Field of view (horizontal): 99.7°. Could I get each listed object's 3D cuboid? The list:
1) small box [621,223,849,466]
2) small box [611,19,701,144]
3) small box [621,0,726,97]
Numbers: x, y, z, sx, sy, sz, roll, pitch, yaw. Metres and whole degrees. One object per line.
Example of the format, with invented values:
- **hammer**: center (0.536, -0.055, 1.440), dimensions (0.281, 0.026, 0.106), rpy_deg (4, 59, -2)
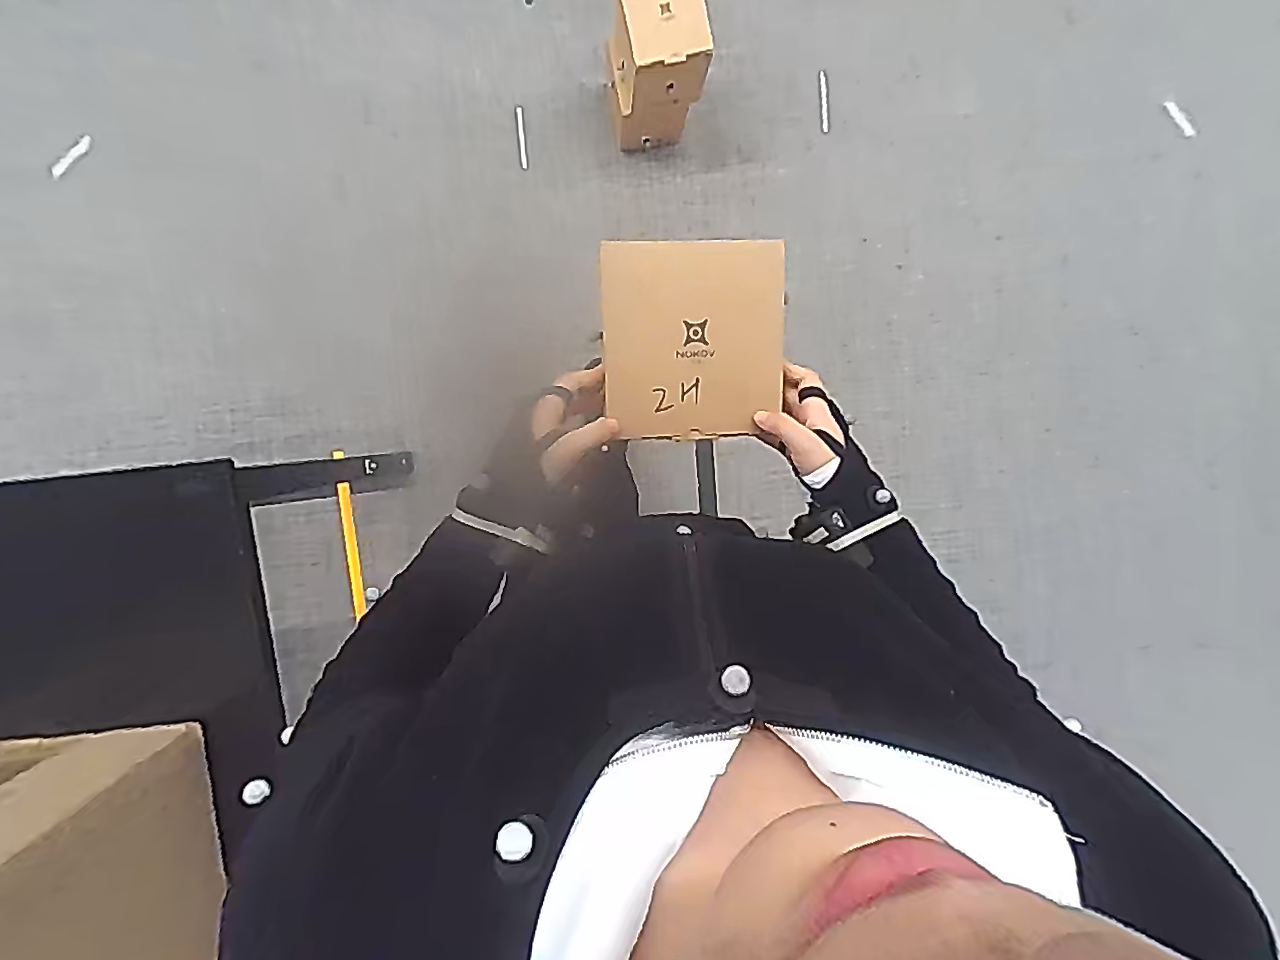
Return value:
- **small box**: center (0.071, -0.116, 0.486), dimensions (0.168, 0.176, 0.179), rpy_deg (-4, 103, -3)
- **small box**: center (0.030, -0.912, 1.235), dimensions (0.168, 0.176, 0.179), rpy_deg (-13, 97, -2)
- **small box**: center (0.060, -0.899, 1.073), dimensions (0.168, 0.176, 0.179), rpy_deg (-13, 96, -2)
